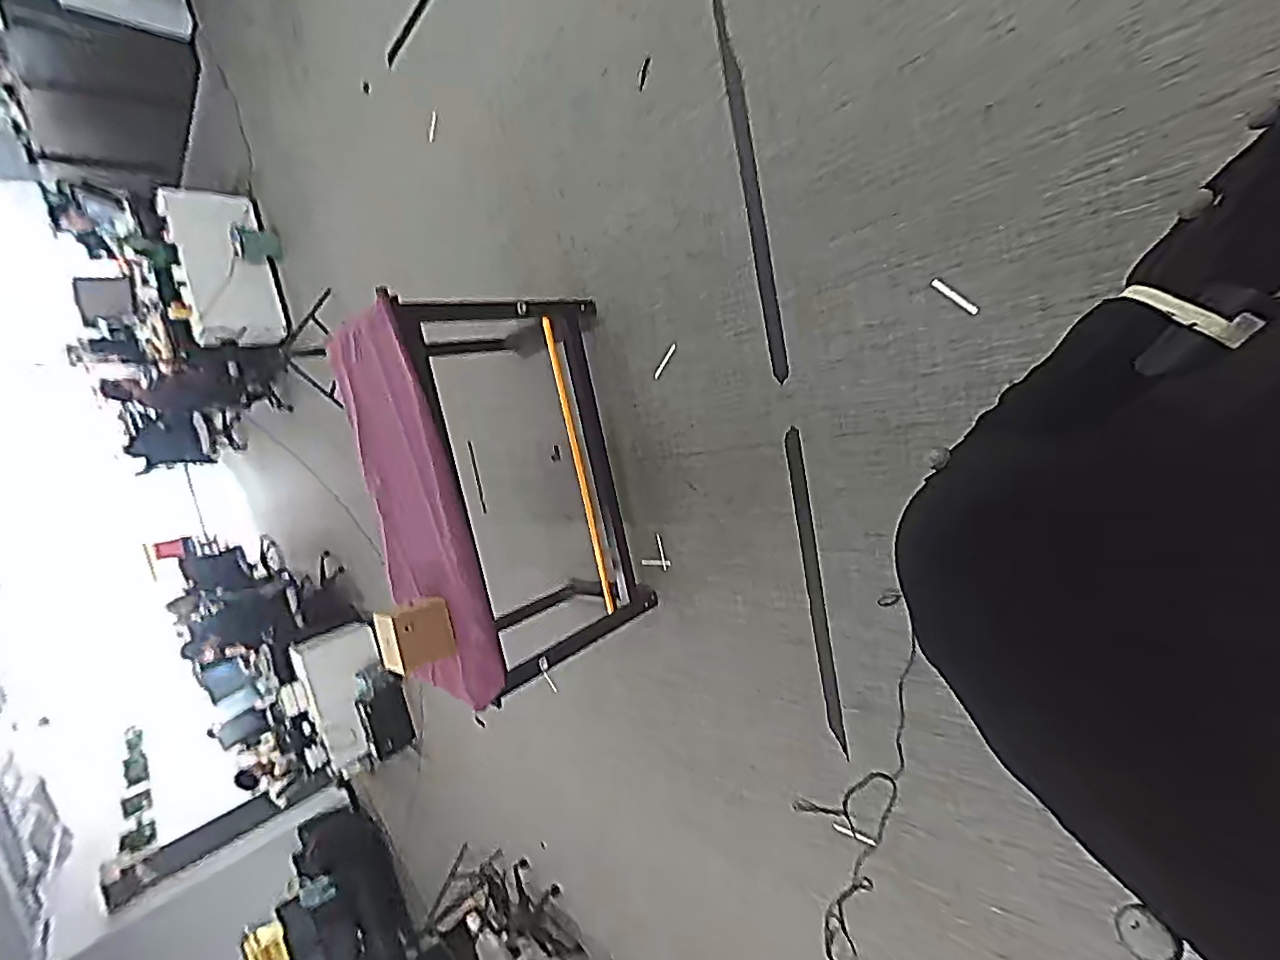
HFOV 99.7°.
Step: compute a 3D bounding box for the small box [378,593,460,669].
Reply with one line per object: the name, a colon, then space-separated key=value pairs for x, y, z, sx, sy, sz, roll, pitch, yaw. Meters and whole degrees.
small box: x=-0.686 y=0.460 z=1.682 sx=0.168 sy=0.176 sz=0.179 roll=-8 pitch=95 yaw=47
